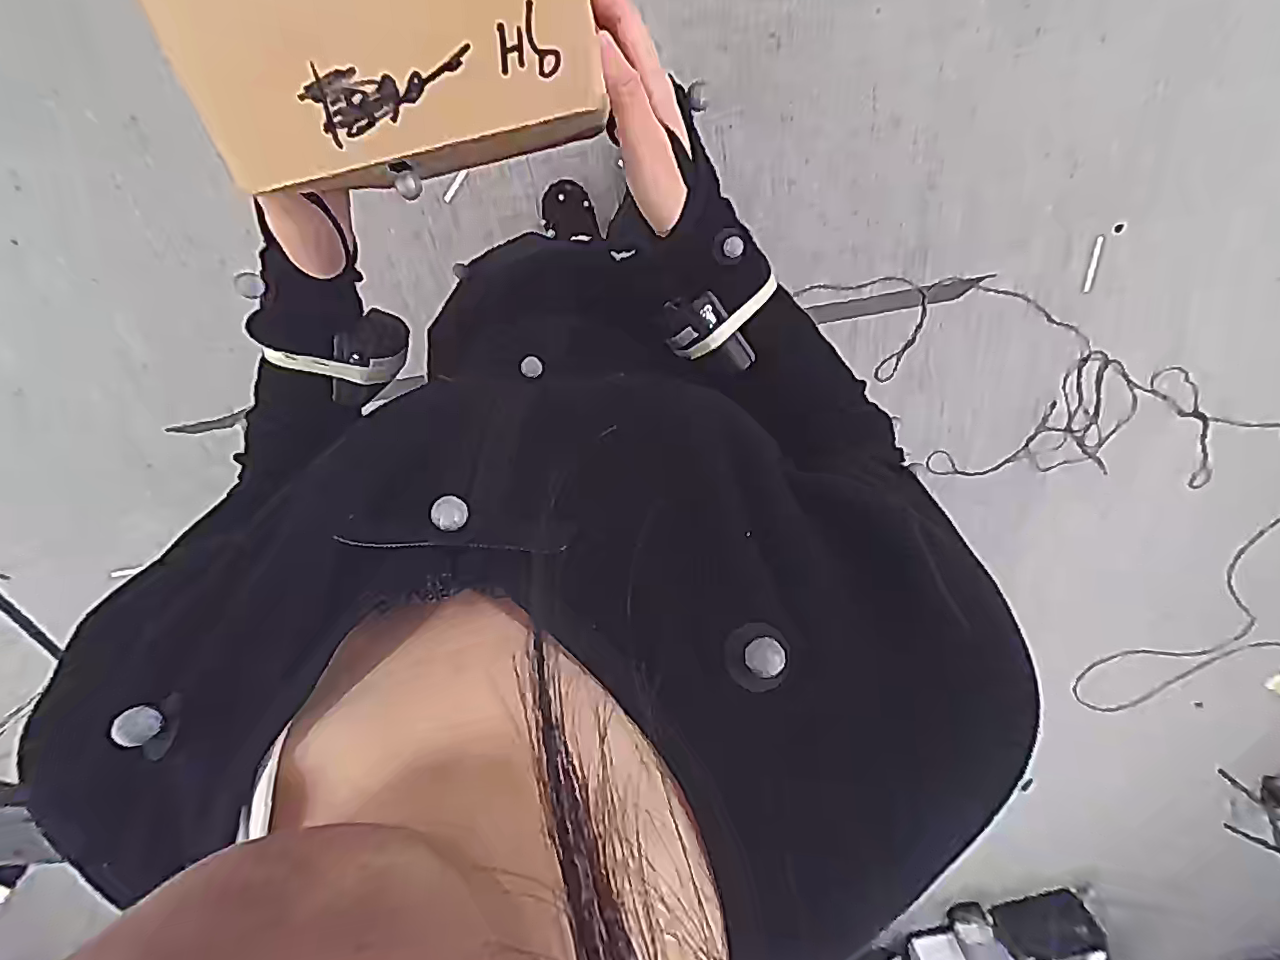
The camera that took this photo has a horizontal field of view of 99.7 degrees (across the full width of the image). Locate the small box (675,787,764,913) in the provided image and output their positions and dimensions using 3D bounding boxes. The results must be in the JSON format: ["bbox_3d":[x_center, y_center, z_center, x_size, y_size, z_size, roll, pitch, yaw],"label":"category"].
[{"bbox_3d":[0.174,0.816,1.199,0.168,0.176,0.179,-9,121,0],"label":"small box"}]

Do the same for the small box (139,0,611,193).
[{"bbox_3d":[-0.114,-0.249,0.258,0.168,0.176,0.179,-13,119,3],"label":"small box"}]
